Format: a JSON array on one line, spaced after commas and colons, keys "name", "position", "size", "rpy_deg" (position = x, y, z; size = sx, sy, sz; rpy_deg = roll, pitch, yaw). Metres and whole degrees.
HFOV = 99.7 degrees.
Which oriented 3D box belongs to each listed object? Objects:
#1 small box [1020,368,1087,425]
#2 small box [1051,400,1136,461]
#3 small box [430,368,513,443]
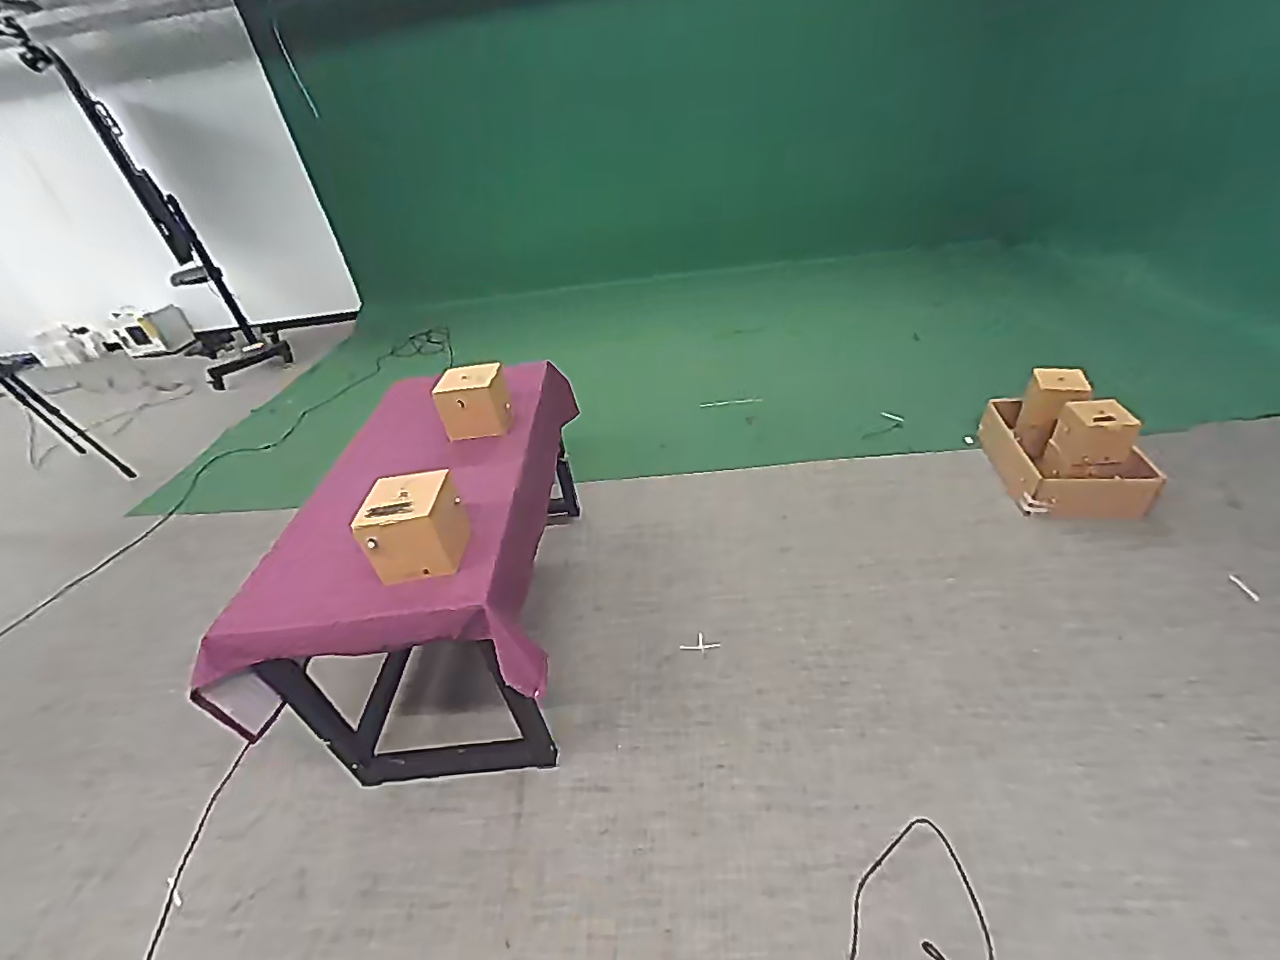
[{"name": "small box", "position": [1.686, -0.341, 2.217], "size": [0.168, 0.176, 0.179], "rpy_deg": [6, 40, 20]}, {"name": "small box", "position": [1.667, -0.178, 1.999], "size": [0.168, 0.176, 0.179], "rpy_deg": [-2, 35, 12]}, {"name": "small box", "position": [-0.514, -0.228, 1.676], "size": [0.179, 0.176, 0.168], "rpy_deg": [-6, 37, 5]}]
